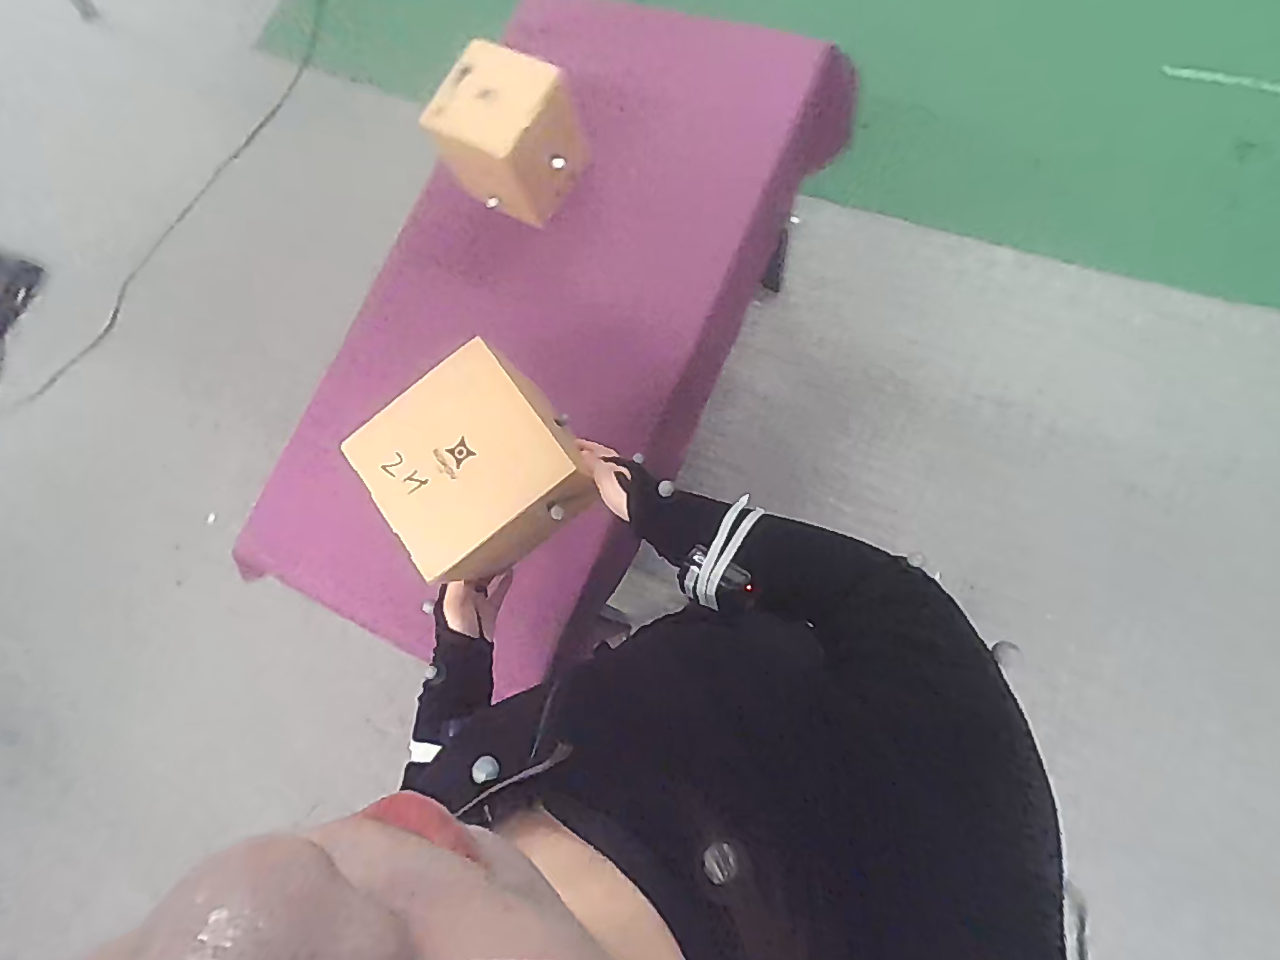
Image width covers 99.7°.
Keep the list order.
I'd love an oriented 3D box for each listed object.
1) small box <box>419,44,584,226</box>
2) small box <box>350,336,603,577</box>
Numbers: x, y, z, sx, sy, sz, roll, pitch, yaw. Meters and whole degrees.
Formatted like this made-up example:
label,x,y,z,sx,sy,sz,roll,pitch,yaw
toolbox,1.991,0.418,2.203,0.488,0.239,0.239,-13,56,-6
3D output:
label,x,y,z,sx,sy,sz,roll,pitch,yaw
small box,-0.218,-0.561,0.901,0.179,0.176,0.168,30,85,14
small box,-0.155,-0.015,0.581,0.179,0.176,0.168,-36,78,3
